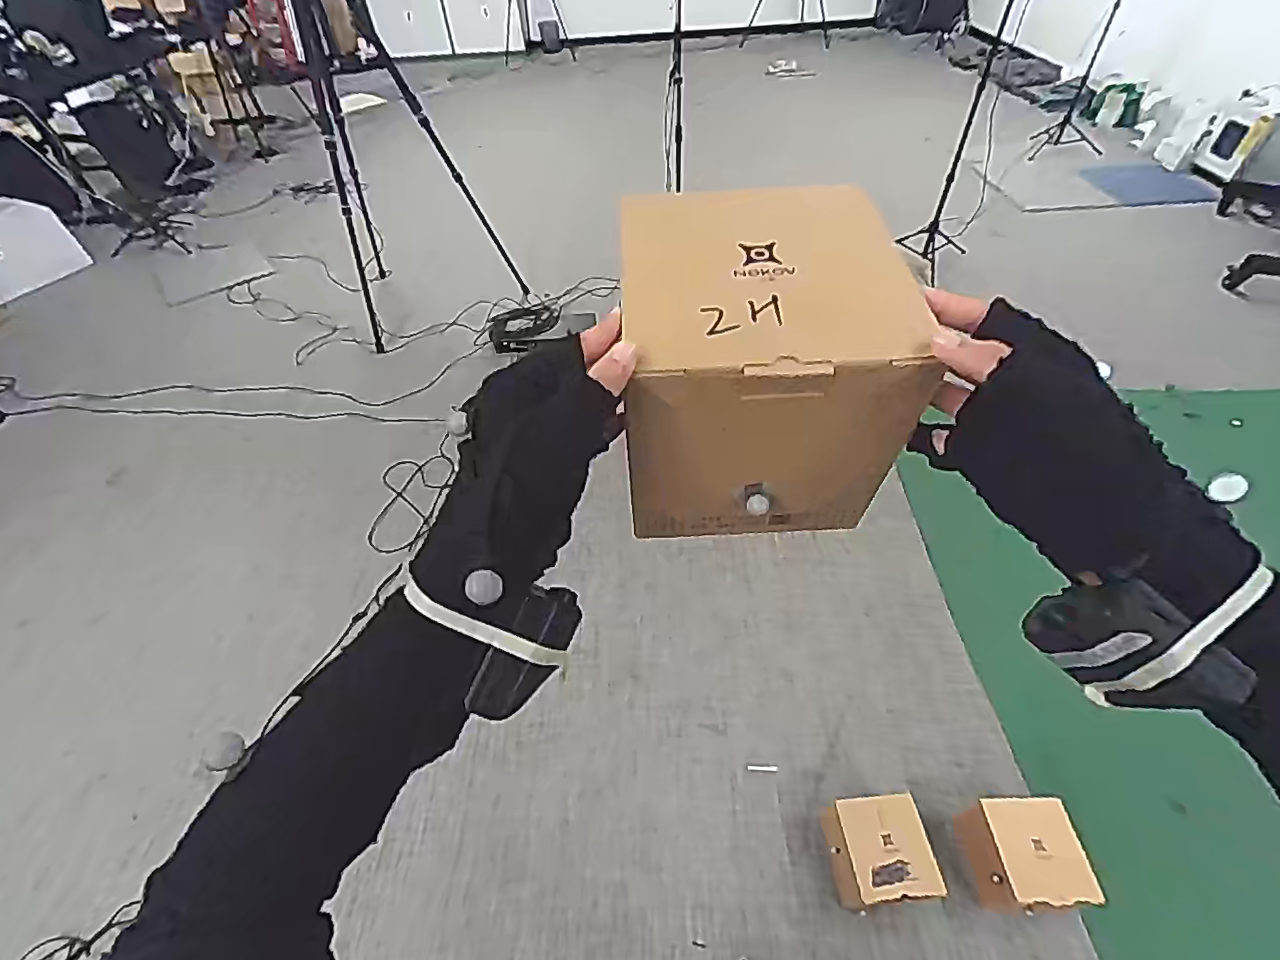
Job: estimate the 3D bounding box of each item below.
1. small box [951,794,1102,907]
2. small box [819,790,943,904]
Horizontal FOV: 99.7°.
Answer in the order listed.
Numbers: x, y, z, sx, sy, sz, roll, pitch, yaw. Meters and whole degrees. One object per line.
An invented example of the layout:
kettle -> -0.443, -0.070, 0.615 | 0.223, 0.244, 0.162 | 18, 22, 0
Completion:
small box -> 0.787, 0.773, 1.127 | 0.168, 0.176, 0.179 | -3, 48, 2
small box -> 0.494, 0.776, 1.138 | 0.168, 0.176, 0.179 | -5, 47, -1
